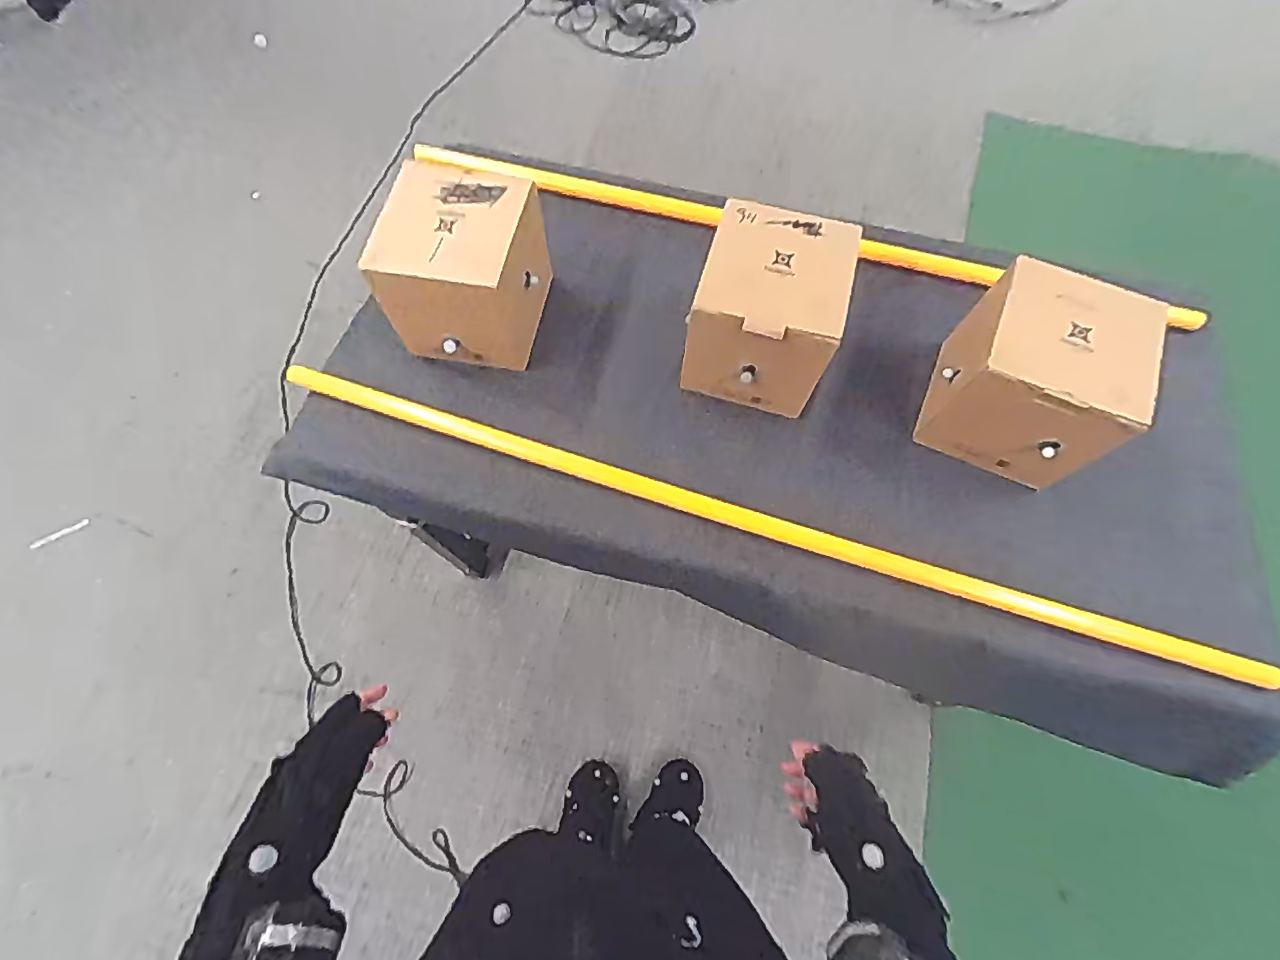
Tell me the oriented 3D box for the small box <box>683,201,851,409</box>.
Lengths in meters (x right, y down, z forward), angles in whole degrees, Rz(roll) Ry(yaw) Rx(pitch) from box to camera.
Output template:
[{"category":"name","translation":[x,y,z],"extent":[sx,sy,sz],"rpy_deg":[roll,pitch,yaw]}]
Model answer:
[{"category":"small box","translation":[0.152,-0.213,0.690],"extent":[0.168,0.176,0.179],"rpy_deg":[13,67,6]}]

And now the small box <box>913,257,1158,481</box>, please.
[{"category":"small box","translation":[0.461,-0.124,0.654],"extent":[0.168,0.176,0.179],"rpy_deg":[24,68,8]}]

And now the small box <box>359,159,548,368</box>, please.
[{"category":"small box","translation":[-0.225,-0.275,0.708],"extent":[0.168,0.176,0.179],"rpy_deg":[9,69,3]}]
